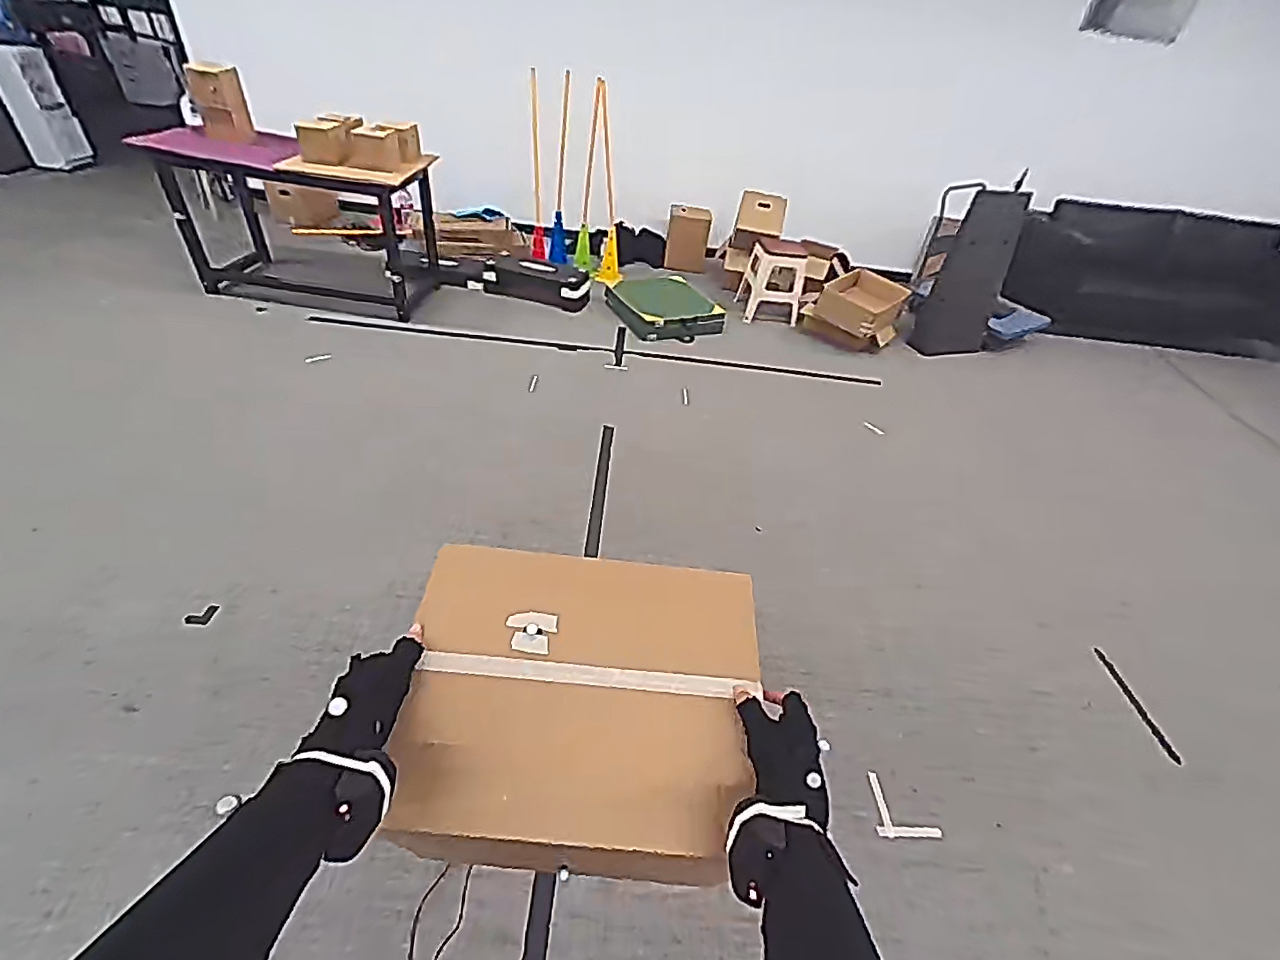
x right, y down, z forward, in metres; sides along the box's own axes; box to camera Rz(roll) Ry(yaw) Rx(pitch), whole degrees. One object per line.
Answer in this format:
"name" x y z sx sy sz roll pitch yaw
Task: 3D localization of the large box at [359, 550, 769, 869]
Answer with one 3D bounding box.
"large box" -0.074 0.319 0.728 0.408 0.320 0.320 5 49 -1
